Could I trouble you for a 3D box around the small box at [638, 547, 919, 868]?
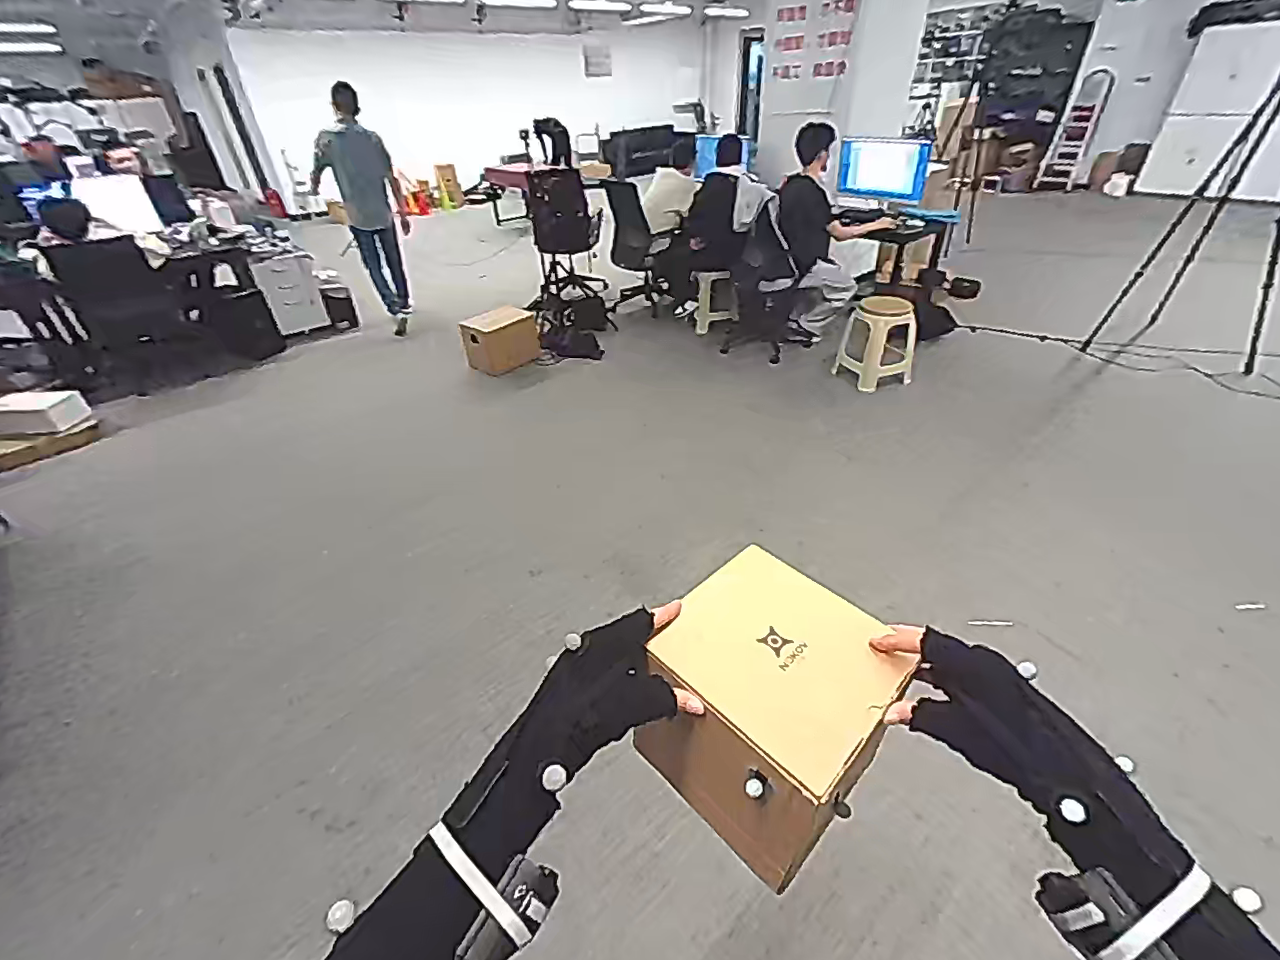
[{"bbox_3d":[0.111,0.200,0.497,0.168,0.176,0.179,-28,47,-35],"label":"small box"}]
